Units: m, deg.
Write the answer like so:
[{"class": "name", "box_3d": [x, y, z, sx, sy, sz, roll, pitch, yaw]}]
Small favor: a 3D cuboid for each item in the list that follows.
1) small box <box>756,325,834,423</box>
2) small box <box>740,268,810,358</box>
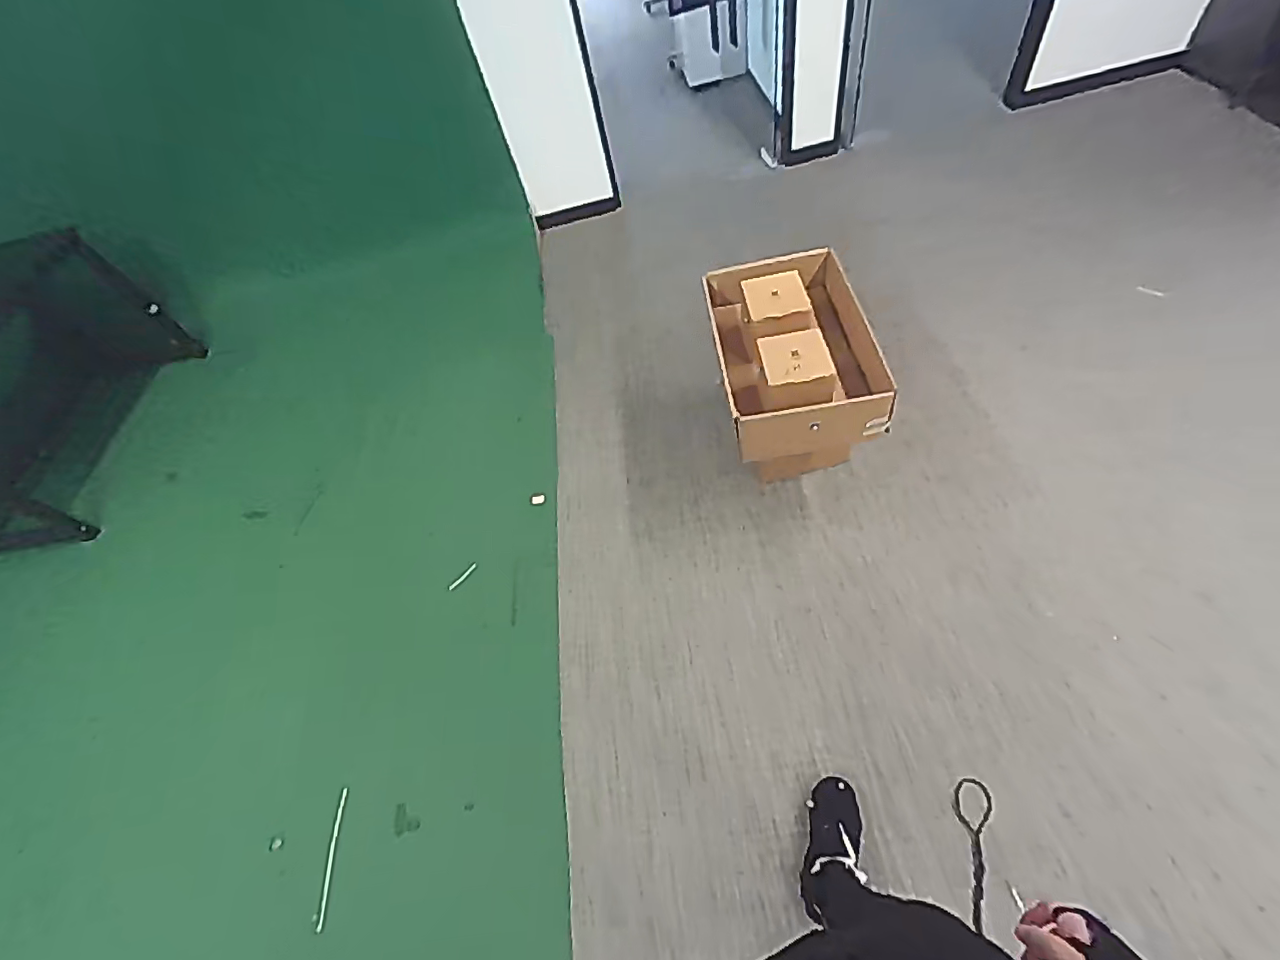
[{"class": "small box", "box_3d": [0.402, -0.277, 1.429, 0.168, 0.176, 0.179, -9, 54, 8]}, {"class": "small box", "box_3d": [0.389, -0.483, 1.580, 0.168, 0.176, 0.179, -10, 56, 6]}]
